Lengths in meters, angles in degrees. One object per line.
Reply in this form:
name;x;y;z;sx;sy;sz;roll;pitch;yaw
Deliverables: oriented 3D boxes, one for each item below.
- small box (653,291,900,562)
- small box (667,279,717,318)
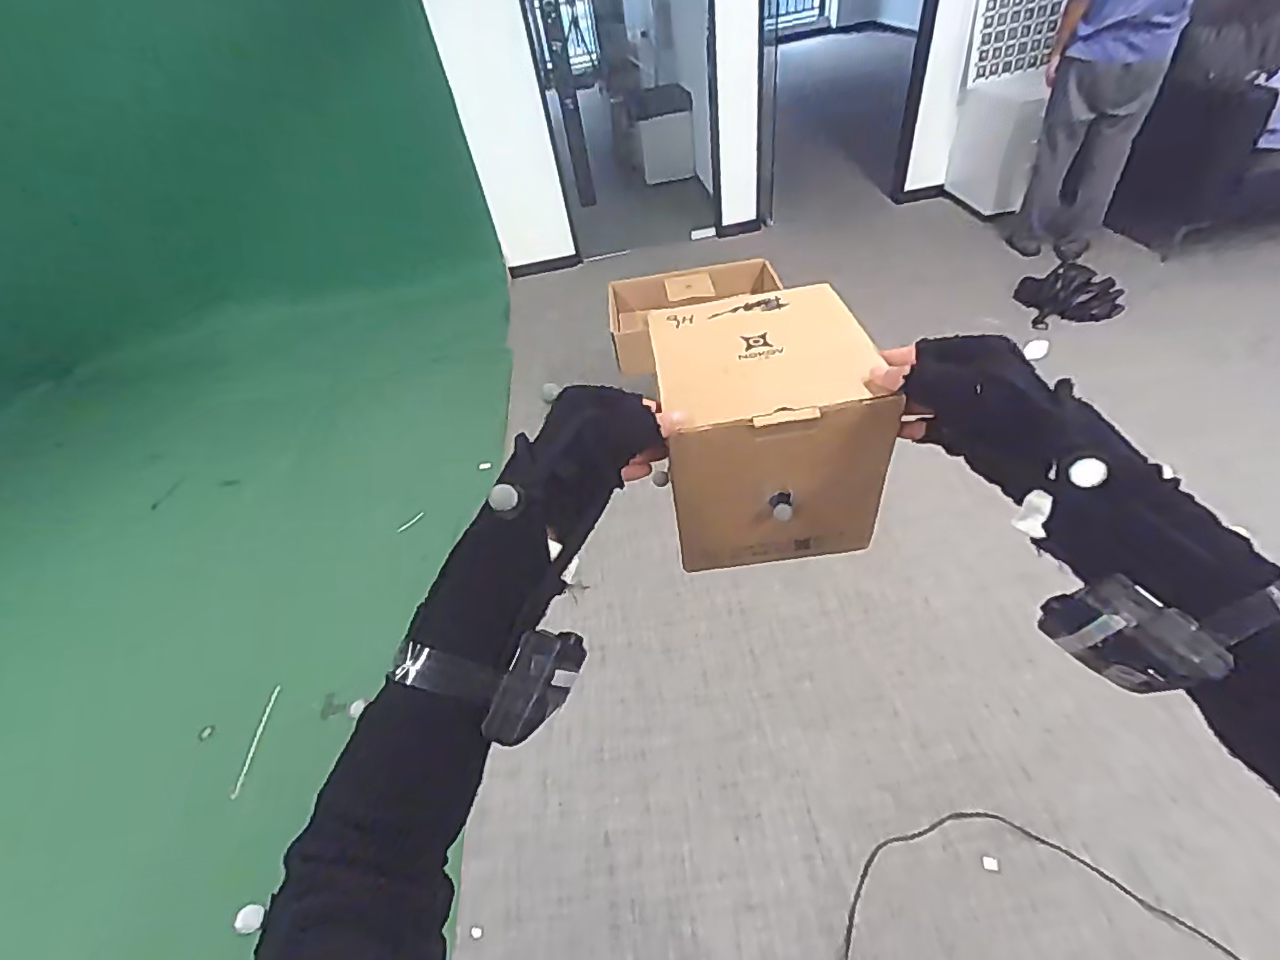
small box;0.108;-0.041;0.486;0.168;0.176;0.179;-8;44;4
small box;0.194;-0.616;1.993;0.168;0.176;0.179;-8;42;1
